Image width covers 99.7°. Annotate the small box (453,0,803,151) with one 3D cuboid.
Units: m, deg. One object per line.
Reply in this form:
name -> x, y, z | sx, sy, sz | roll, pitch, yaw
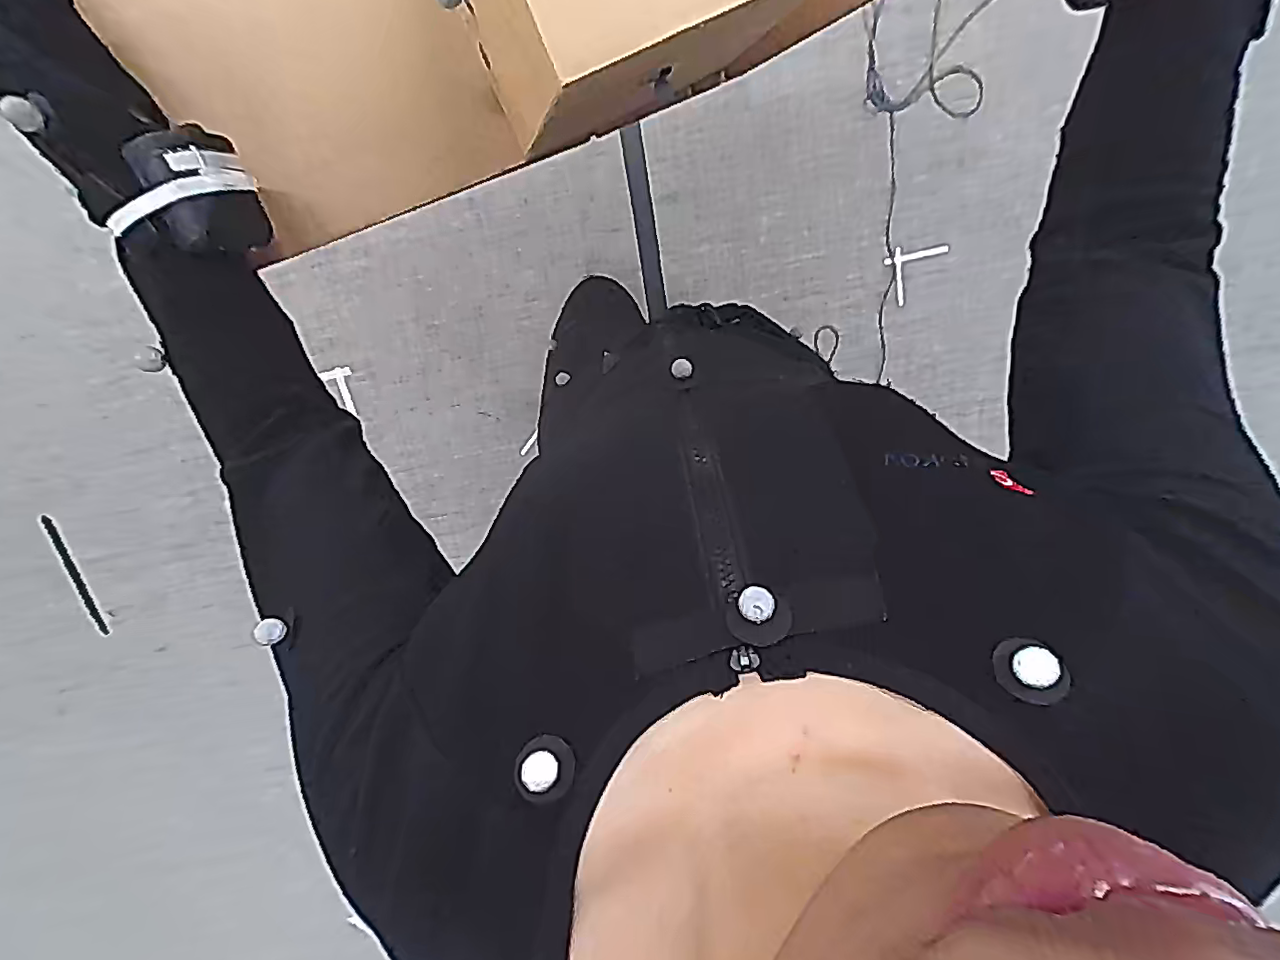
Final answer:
small box -> -0.019, -0.322, 0.310 | 0.179, 0.176, 0.168 | -29, 115, -6
